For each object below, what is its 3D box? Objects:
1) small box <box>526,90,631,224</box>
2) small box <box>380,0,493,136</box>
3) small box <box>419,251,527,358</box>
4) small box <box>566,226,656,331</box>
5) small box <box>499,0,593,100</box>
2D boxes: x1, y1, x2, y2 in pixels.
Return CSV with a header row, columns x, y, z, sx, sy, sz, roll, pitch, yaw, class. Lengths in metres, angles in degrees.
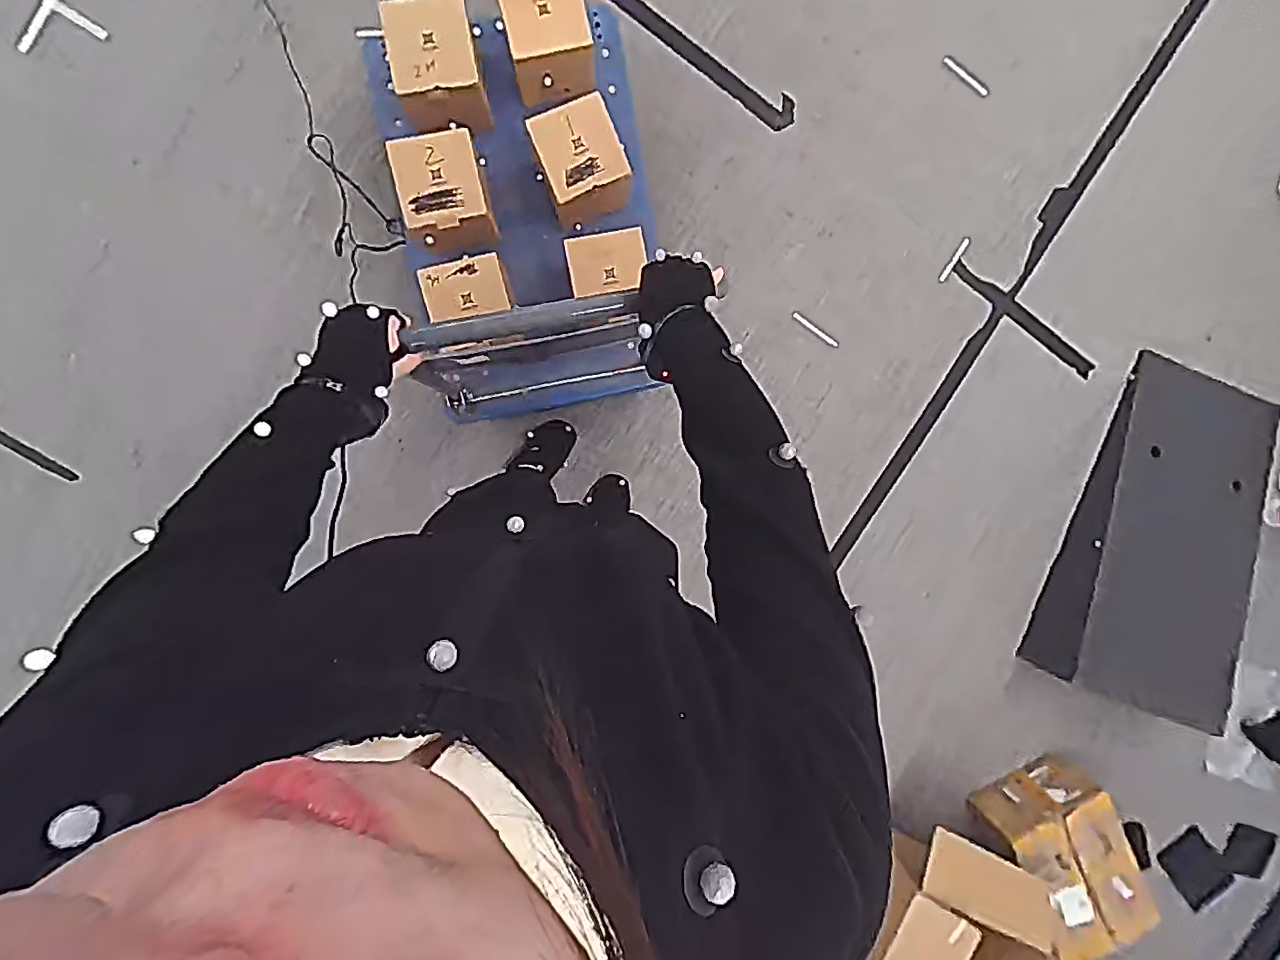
x,y,z,sx,sy,sz,roll,pitch,yaw,class
-0.128,-0.686,1.176,0.168,0.176,0.179,-23,96,-2,small box
-0.417,-0.865,1.137,0.168,0.176,0.179,-10,96,-3,small box
-0.355,-0.372,1.185,0.168,0.176,0.179,-15,96,-4,small box
-0.065,-0.437,1.204,0.168,0.176,0.179,-11,95,-4,small box
-0.198,-0.948,1.149,0.168,0.176,0.179,-14,96,-3,small box
